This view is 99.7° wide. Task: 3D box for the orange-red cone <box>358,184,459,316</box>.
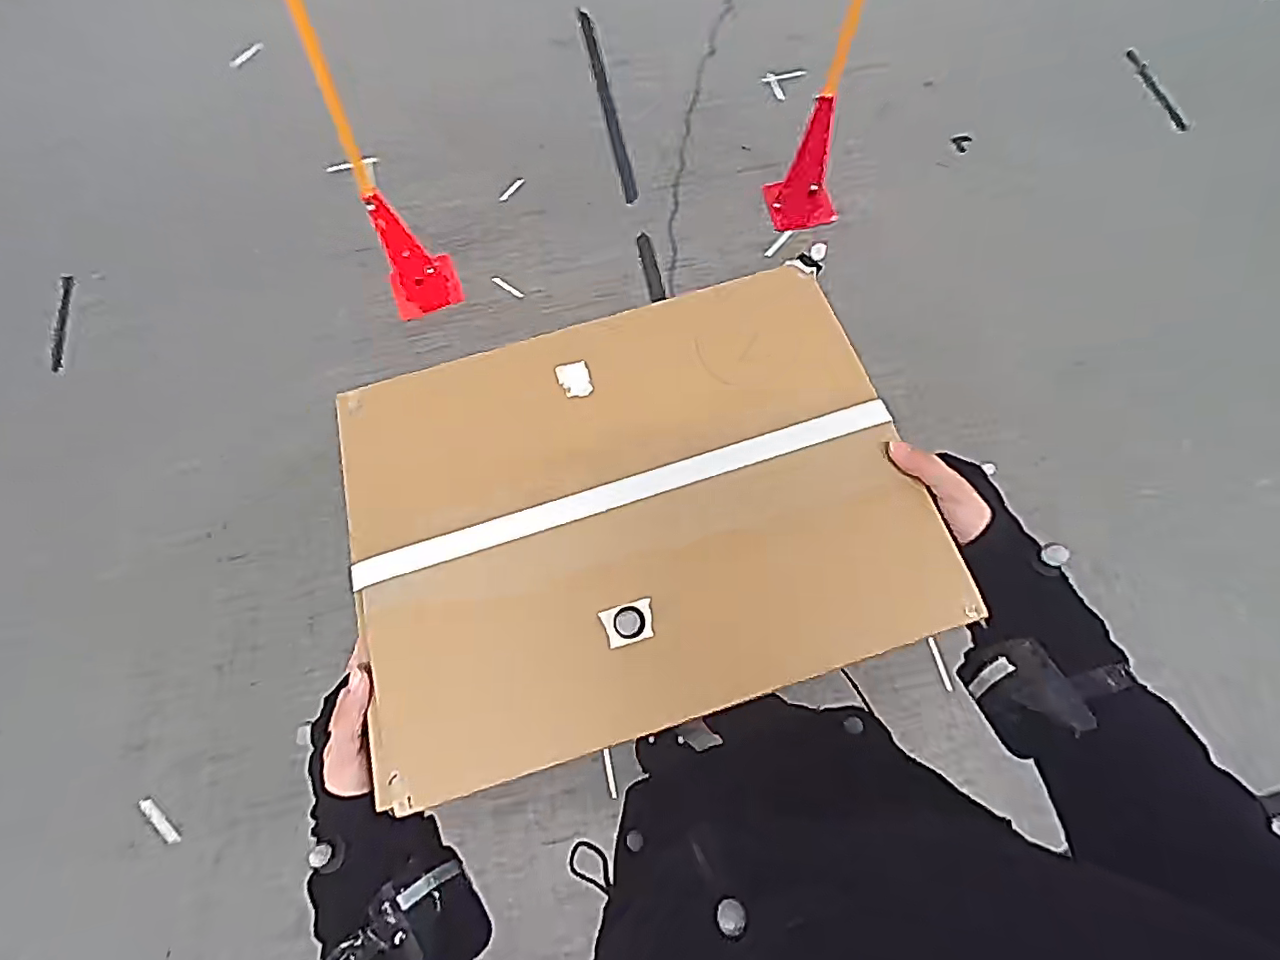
[{"bbox_3d":[-0.678,-0.661,1.507,0.199,0.360,0.198,-21,70,-4],"label":"orange-red cone"}]
